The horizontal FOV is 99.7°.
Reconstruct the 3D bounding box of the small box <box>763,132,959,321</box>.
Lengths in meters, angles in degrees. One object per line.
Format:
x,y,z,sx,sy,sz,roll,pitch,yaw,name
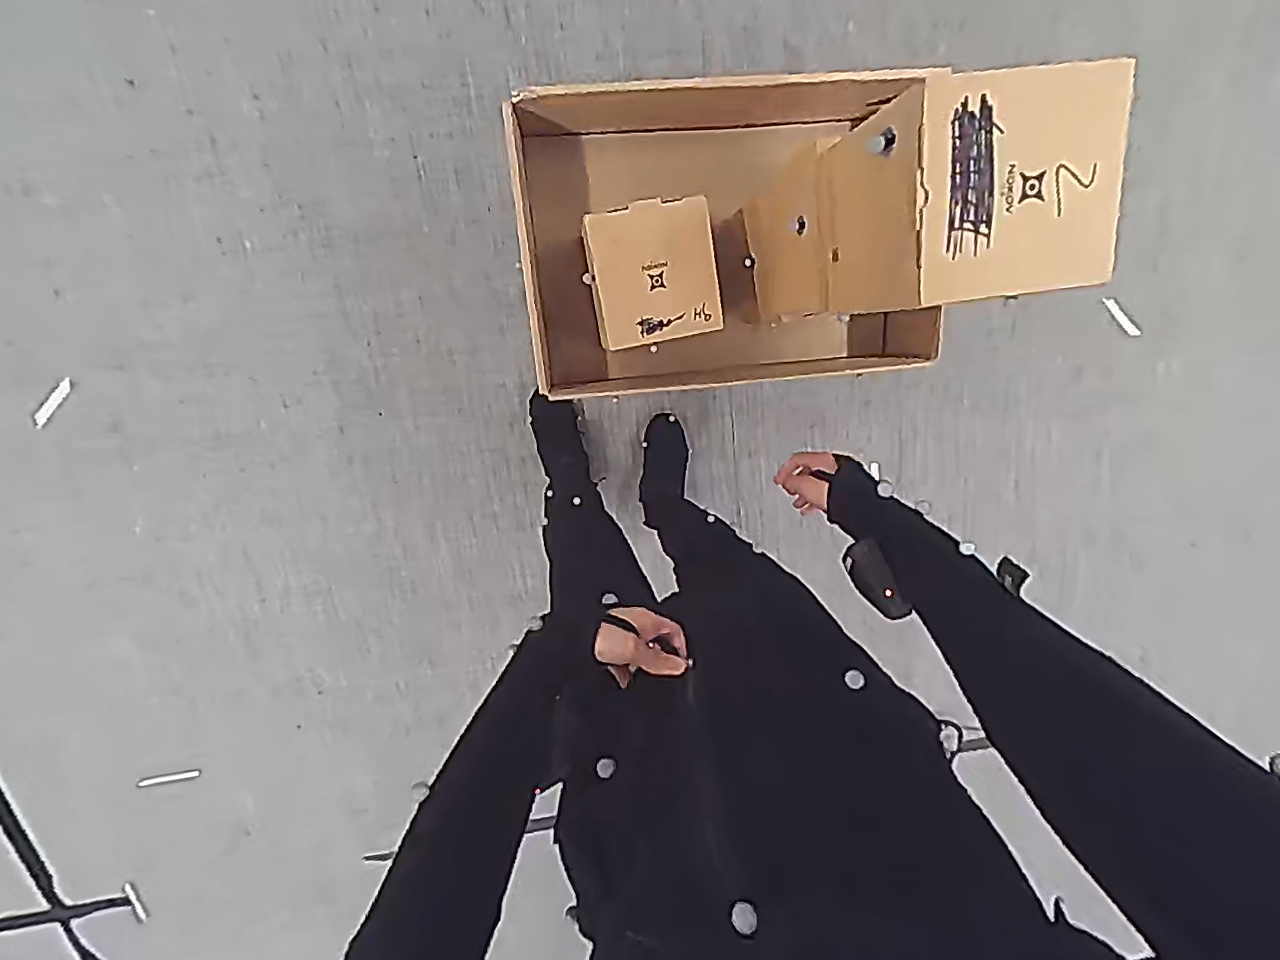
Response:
0.256,-0.295,0.662,0.168,0.176,0.179,-8,106,-4,small box

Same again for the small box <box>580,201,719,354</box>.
0.007,-0.288,0.802,0.168,0.176,0.179,-12,105,-4,small box
